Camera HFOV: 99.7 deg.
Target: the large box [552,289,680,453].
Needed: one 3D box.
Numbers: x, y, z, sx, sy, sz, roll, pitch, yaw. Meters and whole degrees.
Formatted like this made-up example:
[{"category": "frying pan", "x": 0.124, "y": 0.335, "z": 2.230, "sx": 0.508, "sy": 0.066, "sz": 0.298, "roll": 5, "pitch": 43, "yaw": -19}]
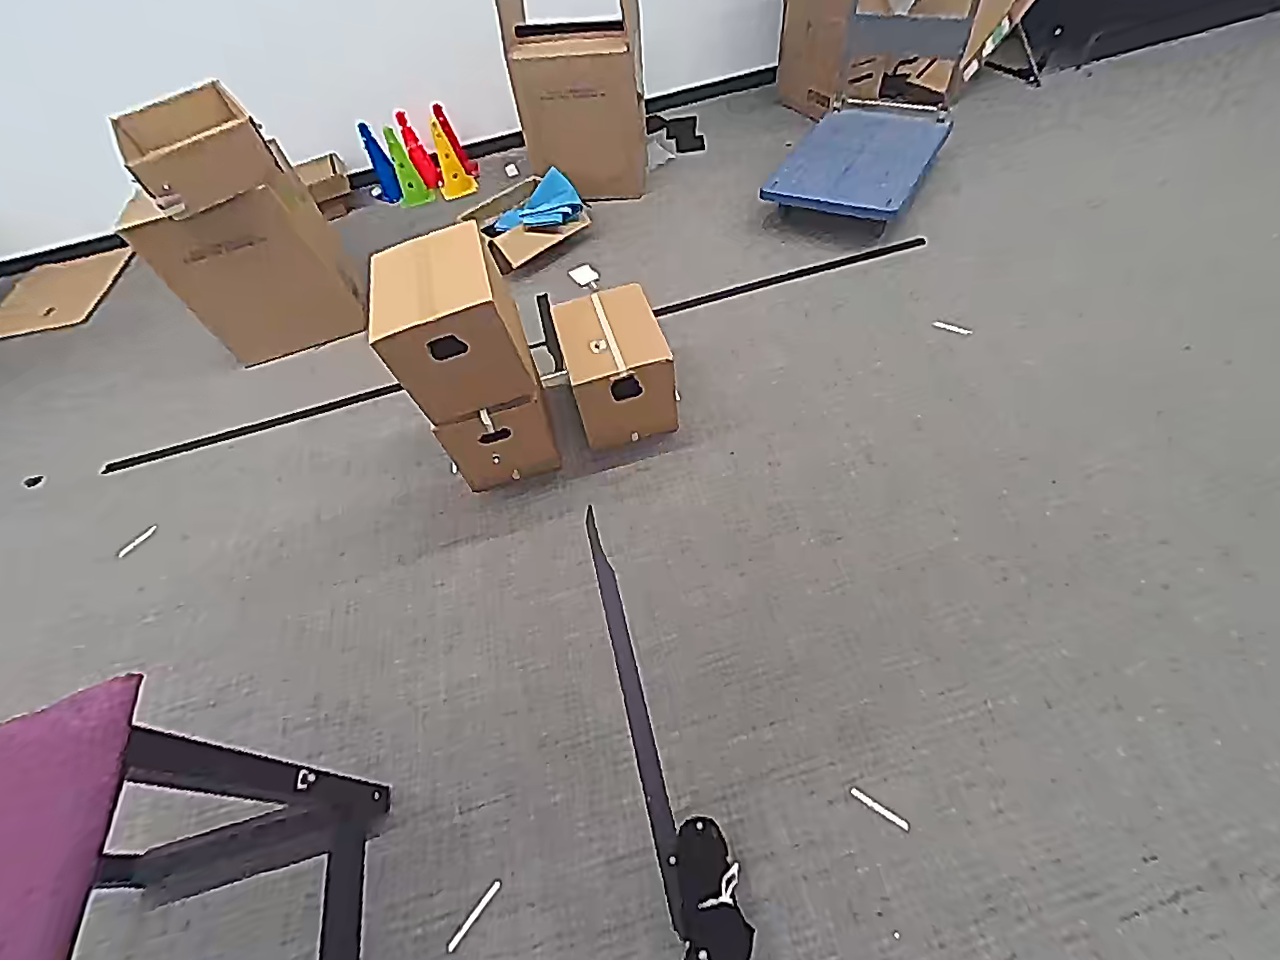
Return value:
[{"category": "large box", "x": -0.076, "y": -0.364, "z": 1.802, "sx": 0.320, "sy": 0.320, "sz": 0.408, "roll": -17, "pitch": 54, "yaw": -4}]
